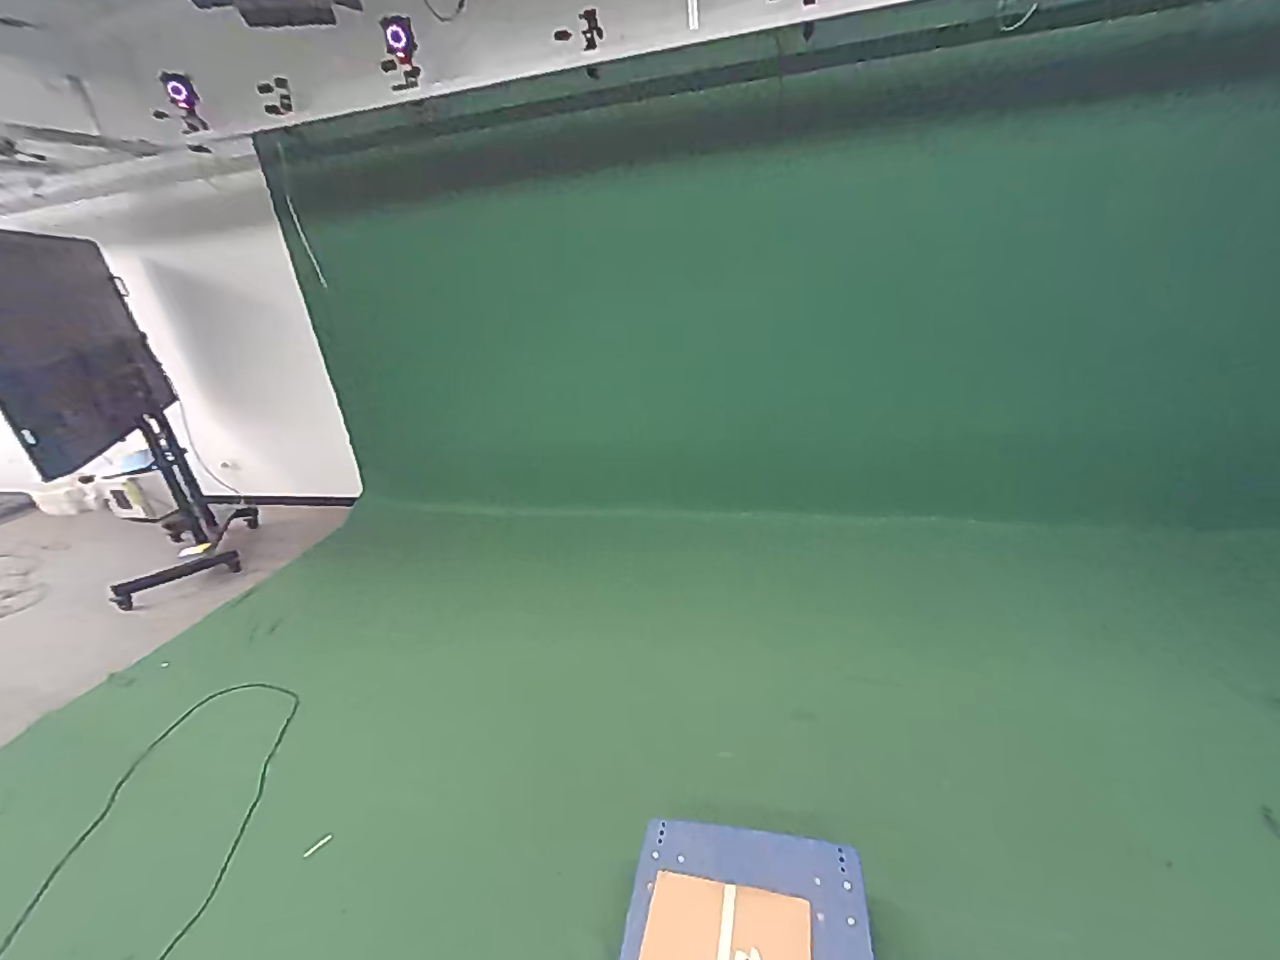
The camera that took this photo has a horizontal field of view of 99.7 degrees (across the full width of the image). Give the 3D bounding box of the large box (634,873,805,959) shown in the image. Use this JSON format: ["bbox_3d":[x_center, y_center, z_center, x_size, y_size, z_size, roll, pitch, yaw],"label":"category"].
[{"bbox_3d":[0.143,1.052,0.994,0.320,0.320,0.408,1,23,16],"label":"large box"}]
